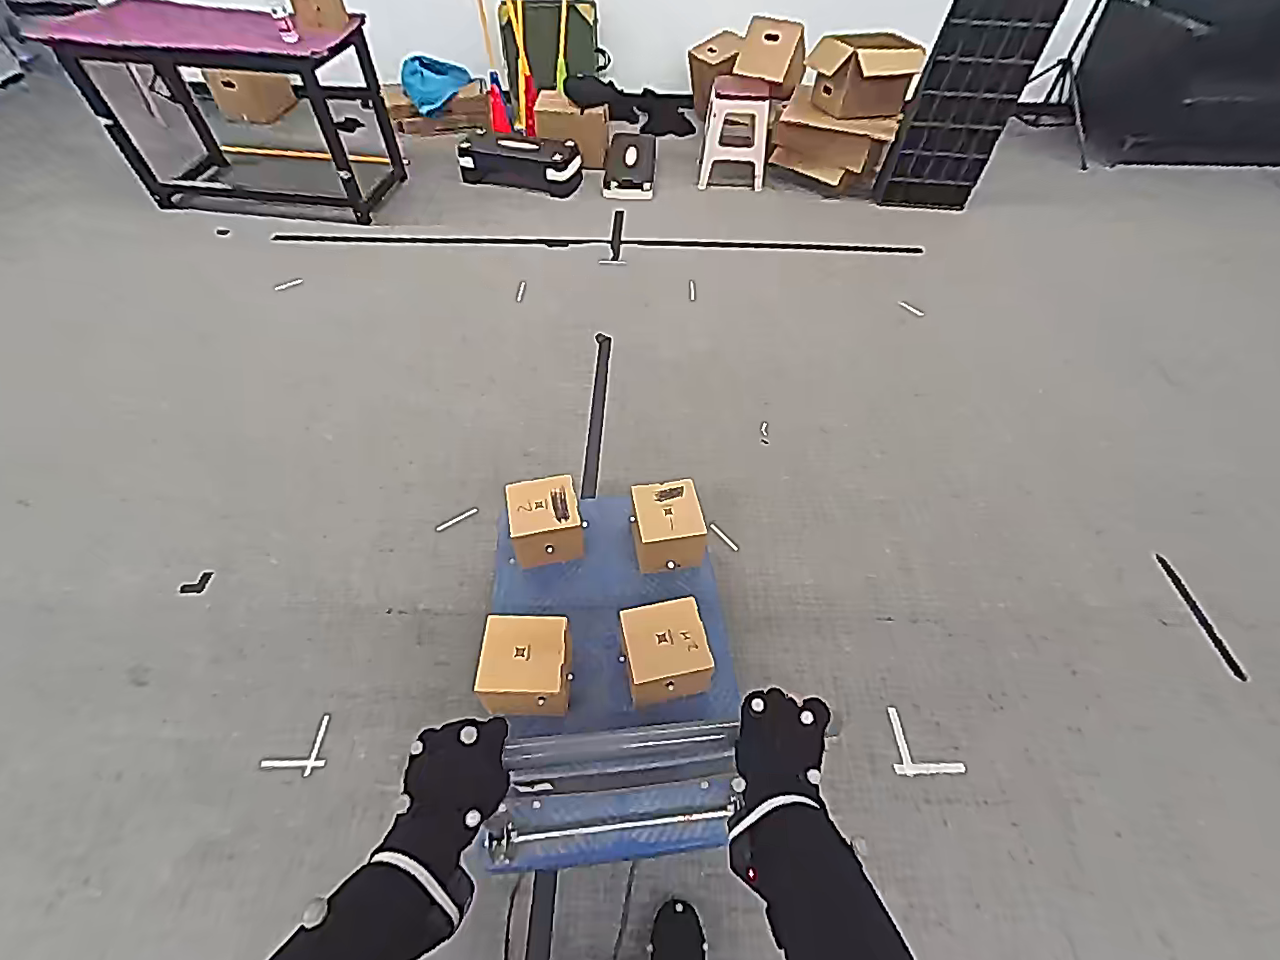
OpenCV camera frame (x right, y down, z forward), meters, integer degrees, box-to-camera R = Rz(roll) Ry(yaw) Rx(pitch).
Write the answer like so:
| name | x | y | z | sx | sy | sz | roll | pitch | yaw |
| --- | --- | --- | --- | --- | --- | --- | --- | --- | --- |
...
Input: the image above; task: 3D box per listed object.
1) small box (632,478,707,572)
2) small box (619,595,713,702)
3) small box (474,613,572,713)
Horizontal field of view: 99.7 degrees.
| name | x | y | z | sx | sy | sz | roll | pitch | yaw |
| --- | --- | --- | --- | --- | --- | --- | --- | --- | --- |
| small box | 0.070 | 0.119 | 1.429 | 0.168 | 0.176 | 0.179 | -7 | 54 | -7 |
| small box | 0.054 | 0.385 | 1.221 | 0.179 | 0.176 | 0.168 | -9 | 53 | -8 |
| small box | -0.249 | 0.408 | 1.198 | 0.179 | 0.176 | 0.168 | 2 | 52 | -2 |
